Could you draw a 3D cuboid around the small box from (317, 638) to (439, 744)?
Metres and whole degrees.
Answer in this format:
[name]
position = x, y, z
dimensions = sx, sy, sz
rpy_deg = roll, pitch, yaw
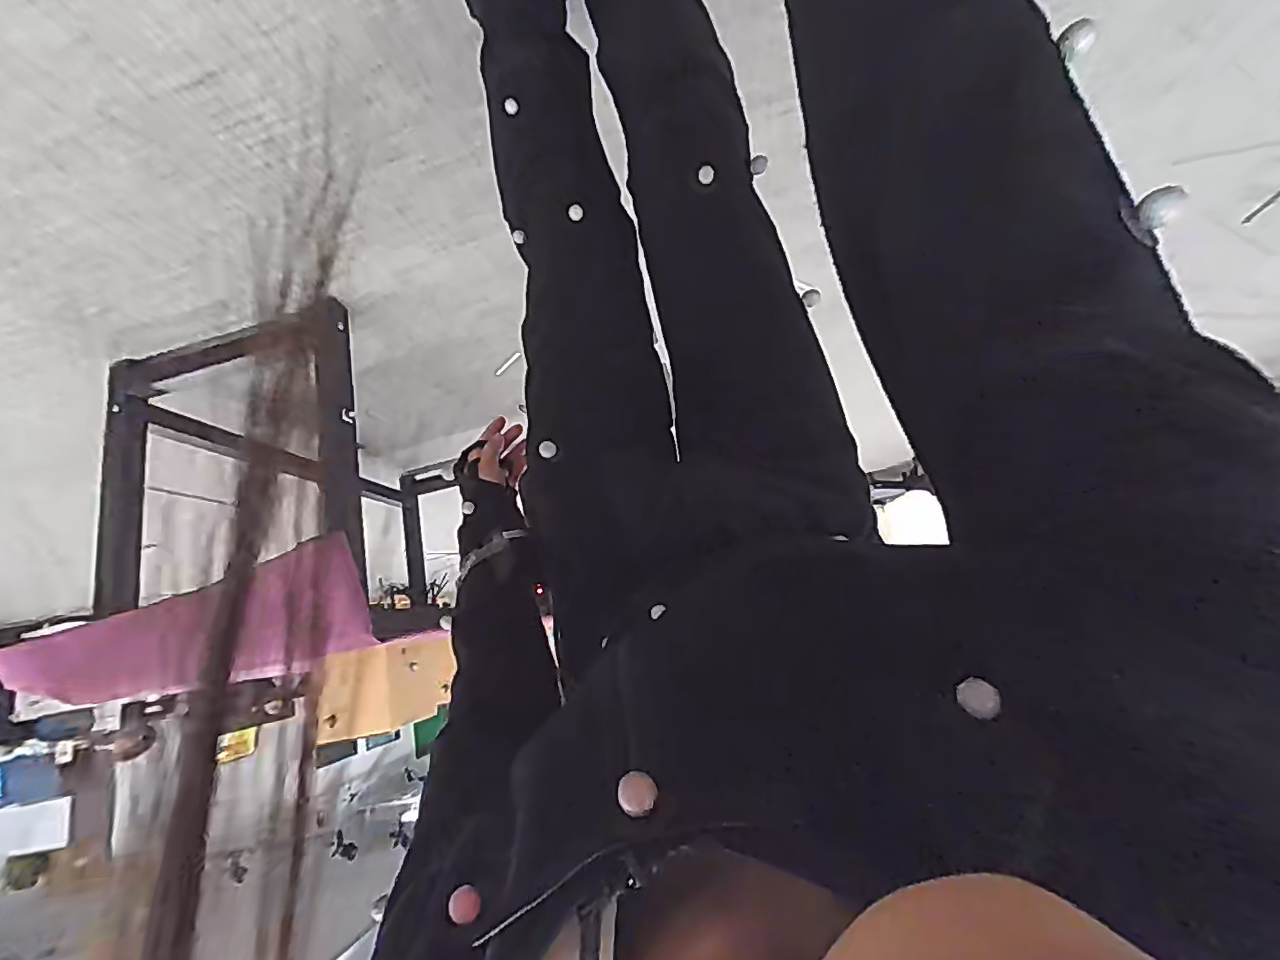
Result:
[small box]
position = -0.553, 0.438, 1.147
dimensions = 0.179, 0.176, 0.168
rpy_deg = -14, 167, 8
